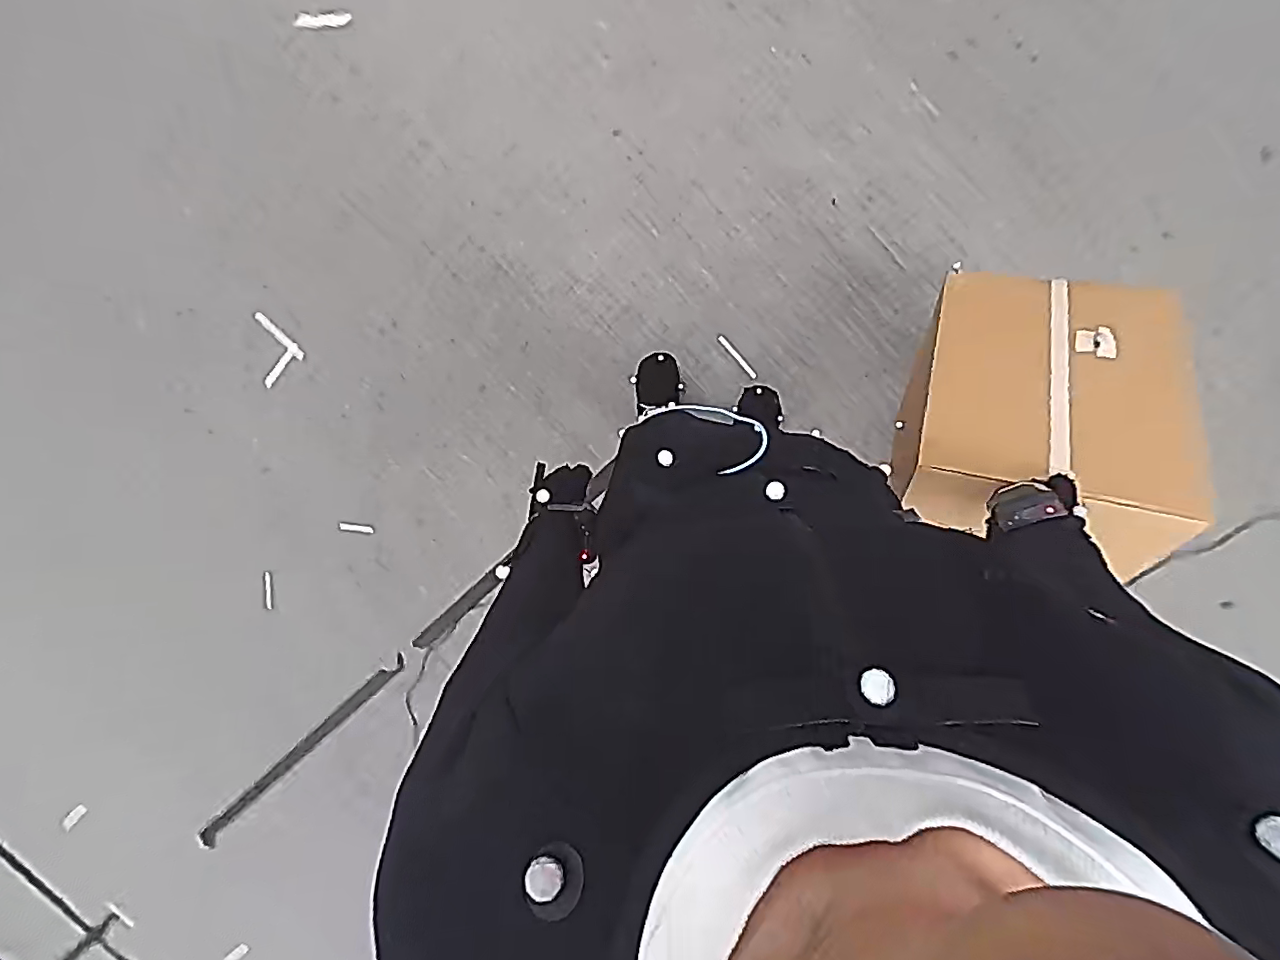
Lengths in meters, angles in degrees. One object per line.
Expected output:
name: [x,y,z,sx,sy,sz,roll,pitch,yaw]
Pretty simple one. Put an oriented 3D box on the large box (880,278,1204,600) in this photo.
large box: [0.606,-0.070,0.893,0.320,0.320,0.408,13,60,18]
